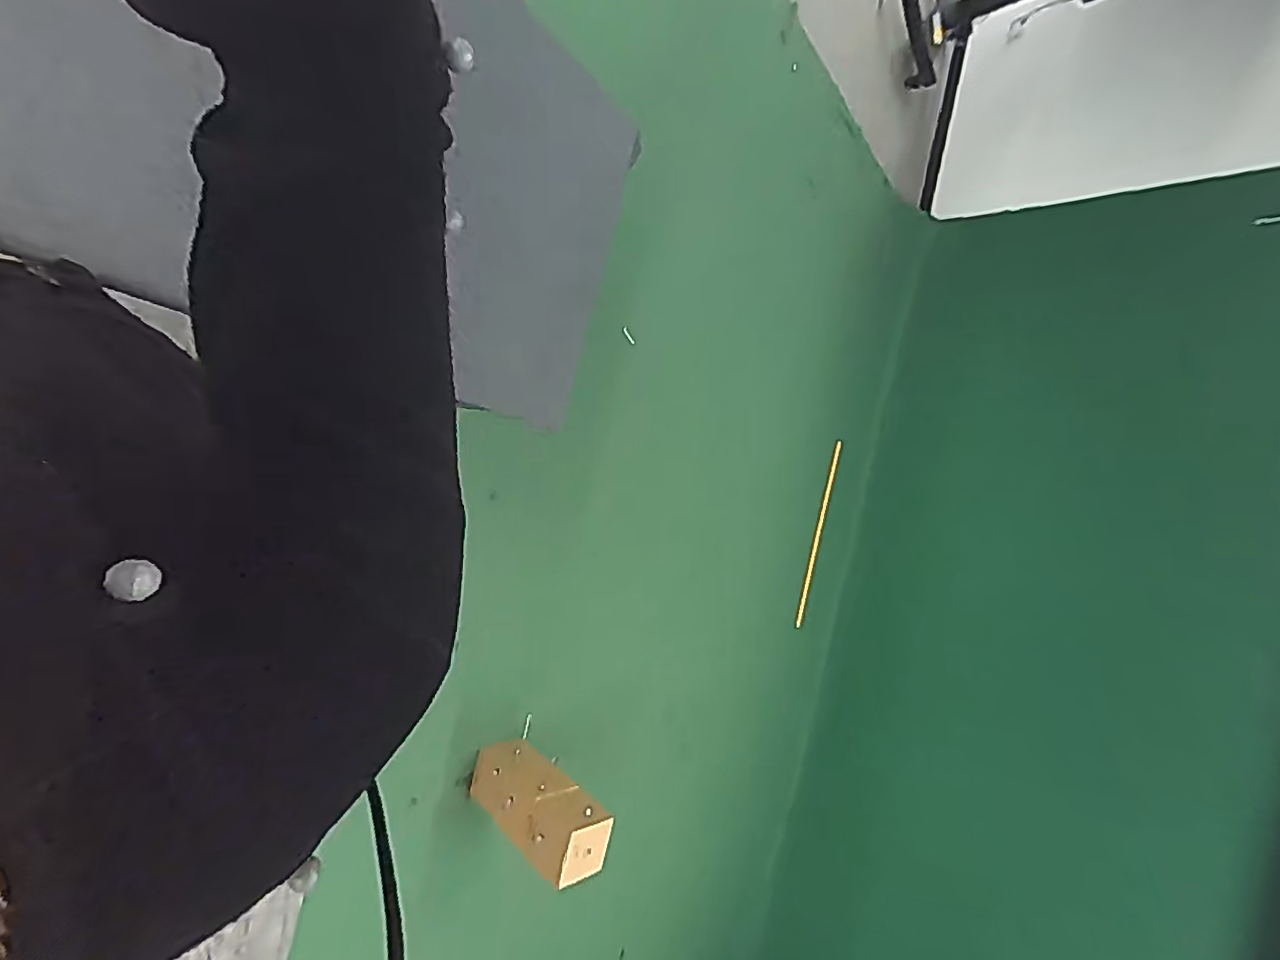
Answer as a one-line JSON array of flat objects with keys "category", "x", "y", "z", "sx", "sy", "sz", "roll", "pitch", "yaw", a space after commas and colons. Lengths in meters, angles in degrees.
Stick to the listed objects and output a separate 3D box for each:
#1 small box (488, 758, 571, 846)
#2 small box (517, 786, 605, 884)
[{"category": "small box", "x": -0.359, "y": 1.029, "z": 1.750, "sx": 0.179, "sy": 0.176, "sz": 0.168, "roll": 15, "pitch": 88, "yaw": -47}, {"category": "small box", "x": -0.240, "y": 1.064, "z": 1.640, "sx": 0.179, "sy": 0.176, "sz": 0.168, "roll": 17, "pitch": 87, "yaw": -47}]
